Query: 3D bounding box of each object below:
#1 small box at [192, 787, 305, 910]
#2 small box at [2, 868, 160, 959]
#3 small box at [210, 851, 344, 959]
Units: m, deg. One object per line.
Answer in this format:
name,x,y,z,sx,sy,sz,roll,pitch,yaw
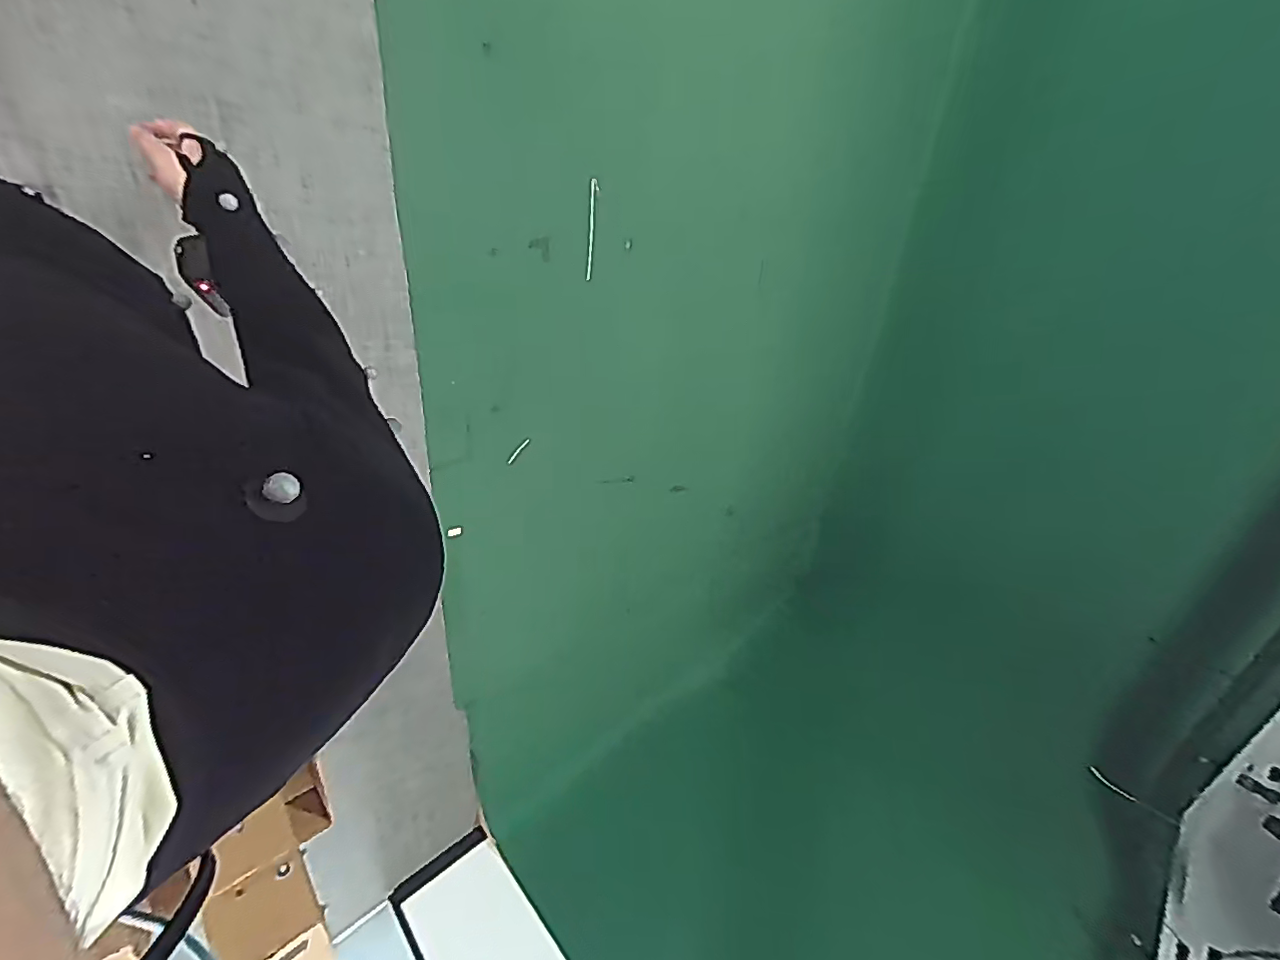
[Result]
small box,-0.821,0.805,1.152,0.168,0.176,0.179,-19,127,-39
small box,-1.013,0.870,0.986,0.179,0.176,0.168,-17,124,-40
small box,-0.707,0.877,1.056,0.168,0.176,0.179,-21,129,-38
